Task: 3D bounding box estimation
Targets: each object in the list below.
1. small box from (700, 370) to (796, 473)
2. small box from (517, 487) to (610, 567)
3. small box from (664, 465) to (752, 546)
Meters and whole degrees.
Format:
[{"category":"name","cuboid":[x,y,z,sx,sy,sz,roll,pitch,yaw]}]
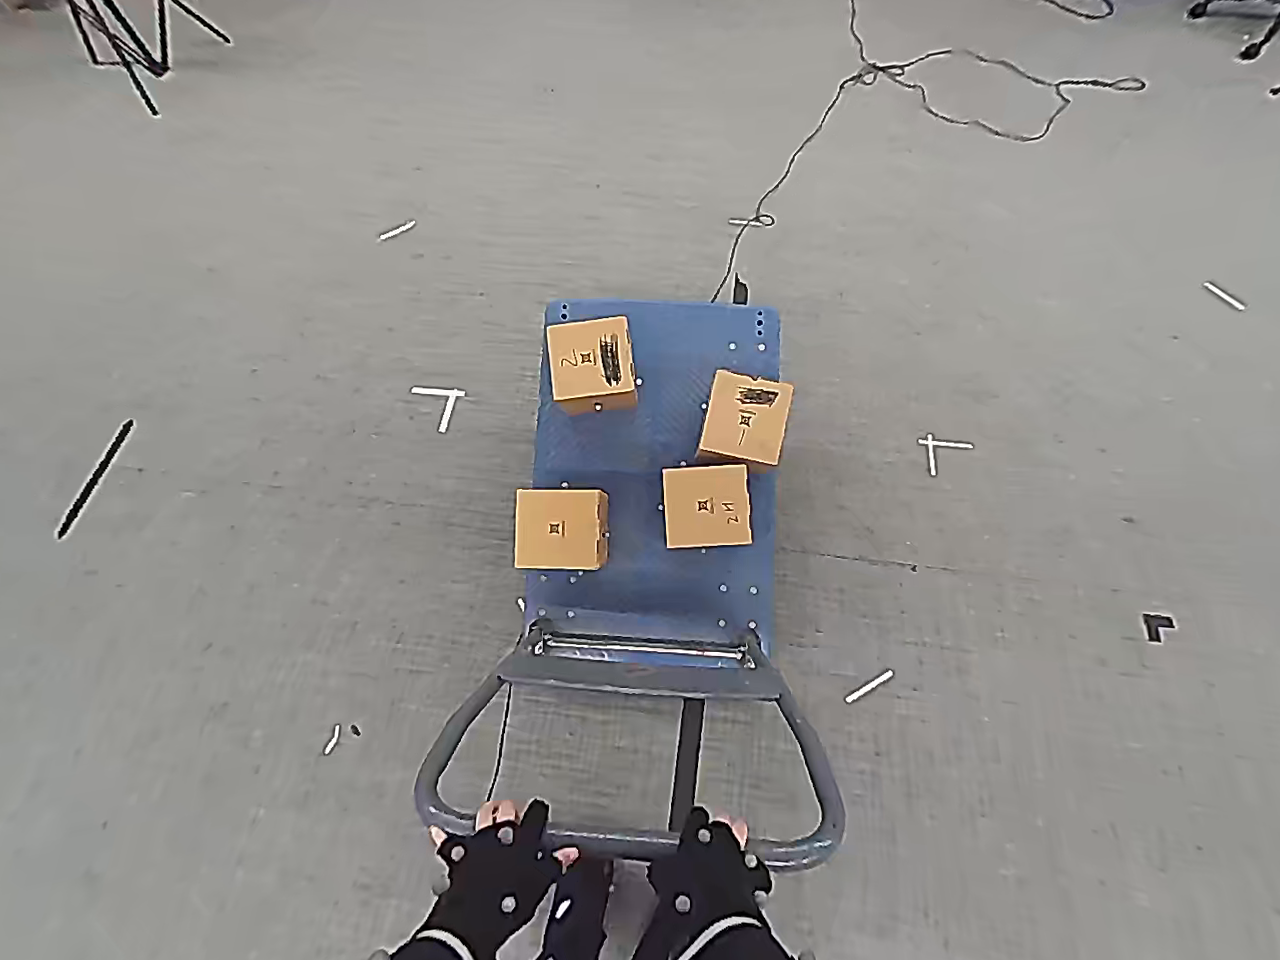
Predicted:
[{"category":"small box","cuboid":[0.231,-0.123,1.197,0.168,0.176,0.179,13,86,5]},{"category":"small box","cuboid":[-0.164,0.106,1.201,0.179,0.176,0.168,0,85,2]},{"category":"small box","cuboid":[0.145,0.060,1.186,0.179,0.176,0.168,-3,85,4]}]
